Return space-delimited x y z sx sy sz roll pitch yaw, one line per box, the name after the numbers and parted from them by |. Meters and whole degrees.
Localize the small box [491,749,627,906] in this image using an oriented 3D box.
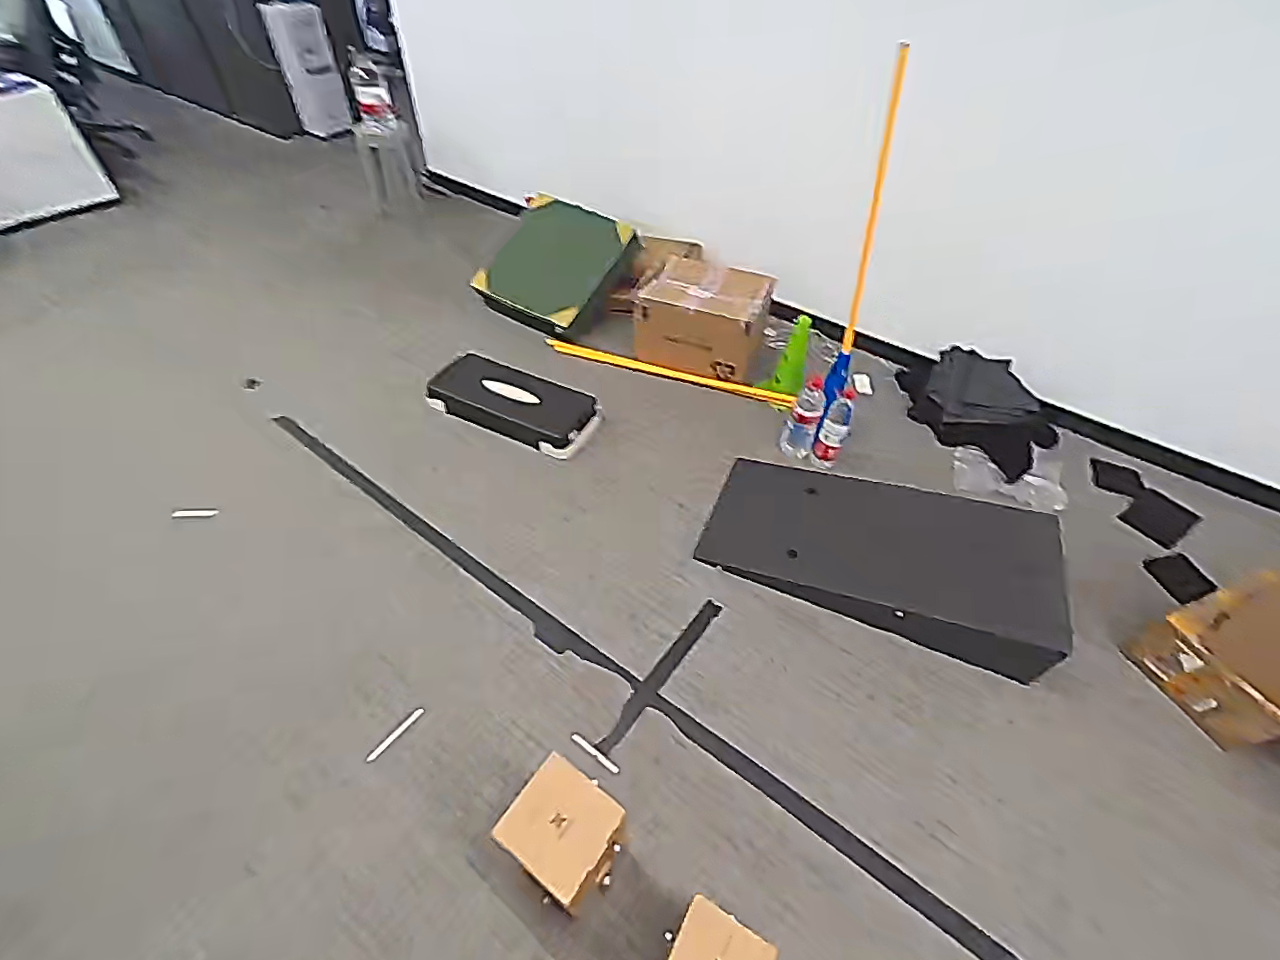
-0.141 0.638 0.991 0.179 0.176 0.168 29 53 22 | small box

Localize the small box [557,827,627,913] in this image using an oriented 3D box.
-0.144 0.747 1.114 0.179 0.176 0.168 32 54 22 | small box

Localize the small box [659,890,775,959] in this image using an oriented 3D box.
0.125 0.903 0.990 0.168 0.176 0.179 26 51 19 | small box
